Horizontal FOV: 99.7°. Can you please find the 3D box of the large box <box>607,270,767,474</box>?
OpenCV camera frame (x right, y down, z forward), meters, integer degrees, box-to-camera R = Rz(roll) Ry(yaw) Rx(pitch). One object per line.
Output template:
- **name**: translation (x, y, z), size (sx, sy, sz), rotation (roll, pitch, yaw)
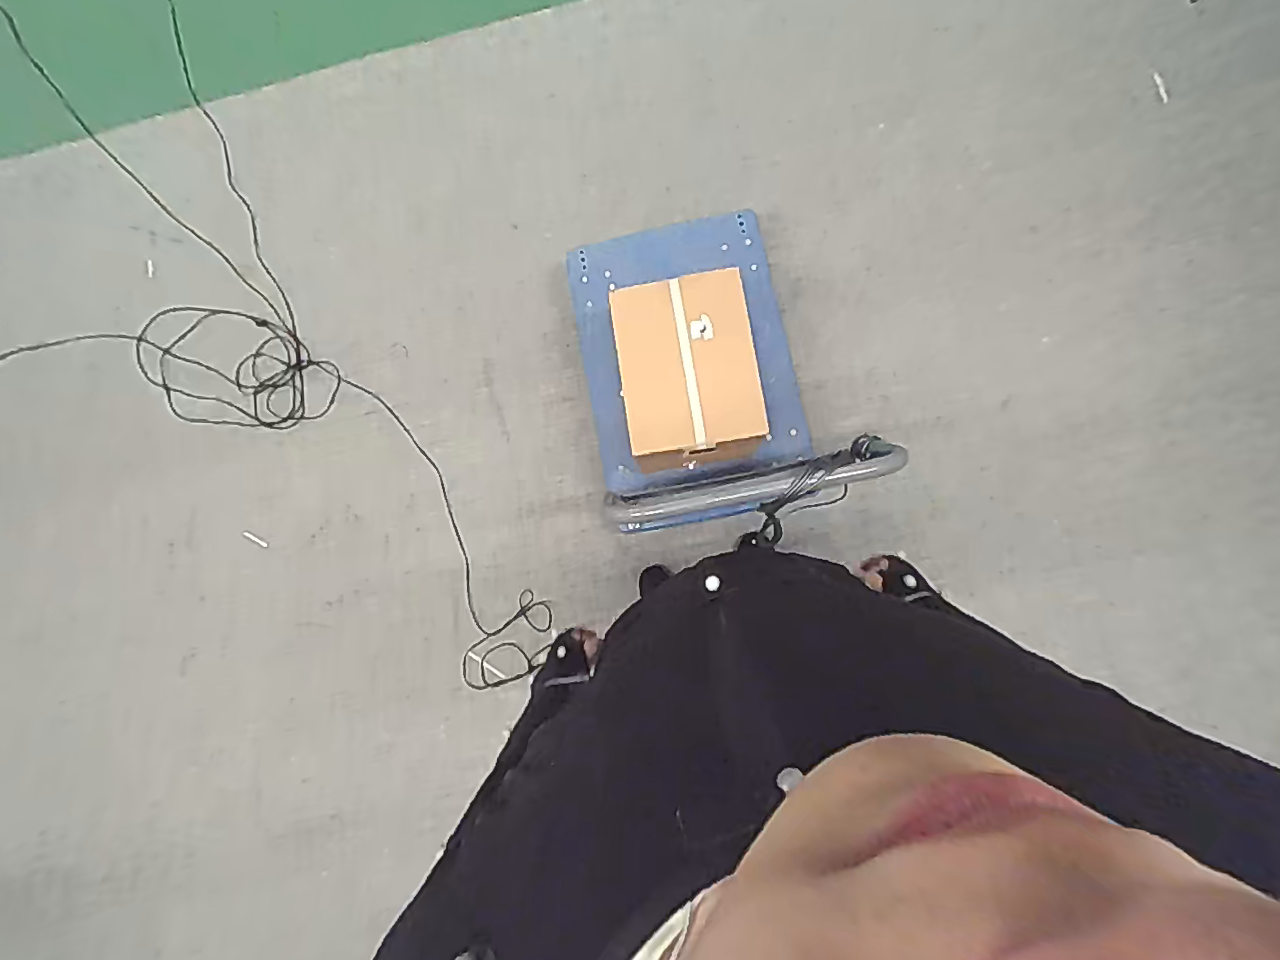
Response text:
- **large box**: translation (0.117, -0.253, 1.389), size (0.320, 0.320, 0.408), rotation (-9, 81, 3)
